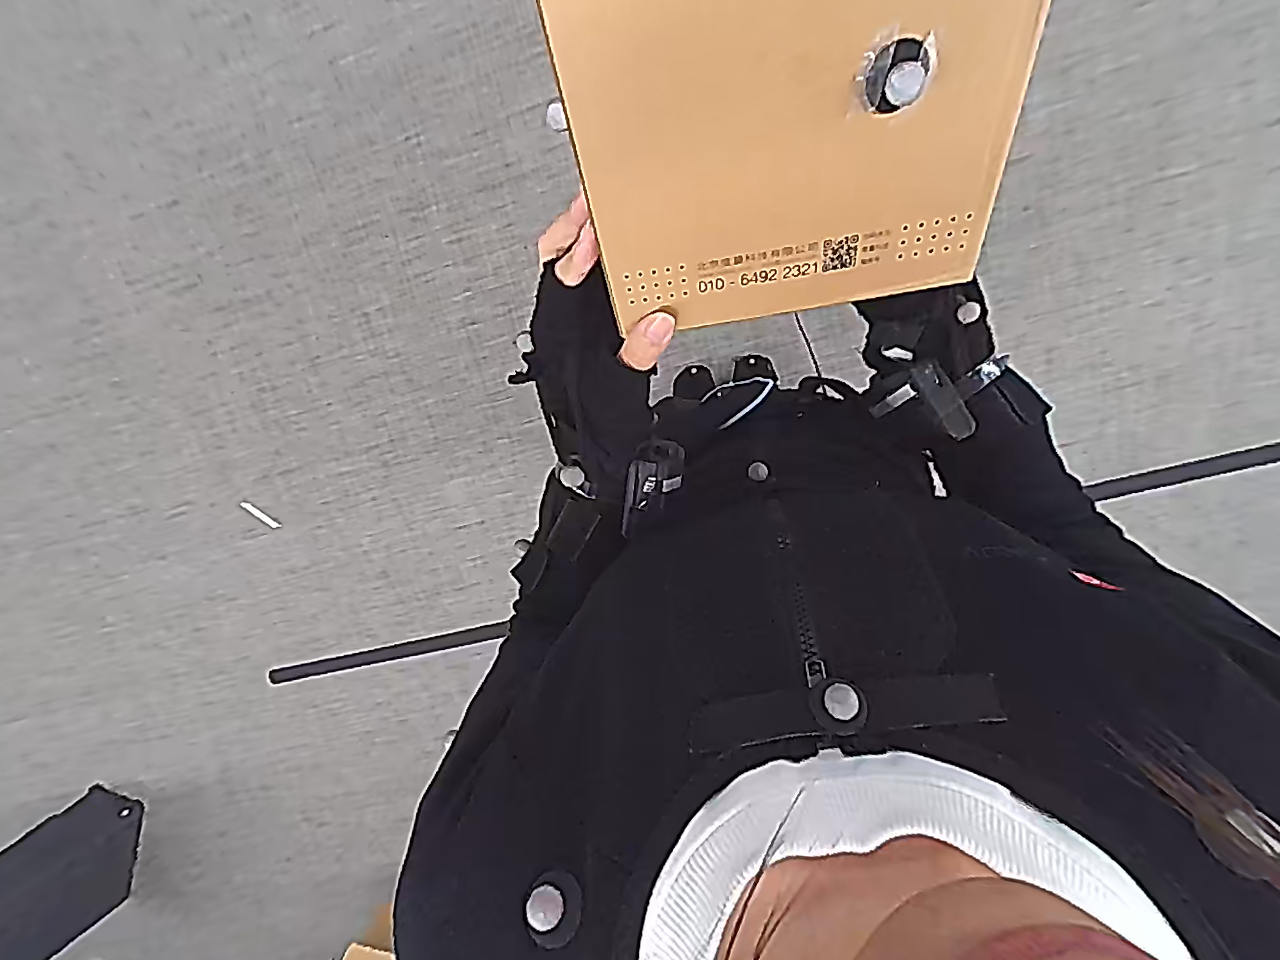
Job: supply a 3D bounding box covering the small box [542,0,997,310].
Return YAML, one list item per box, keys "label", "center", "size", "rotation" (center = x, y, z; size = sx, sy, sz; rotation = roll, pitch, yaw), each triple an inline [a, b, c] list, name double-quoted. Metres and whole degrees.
- label: "small box"
  center: [0.059, -0.202, 0.276]
  size: [0.168, 0.179, 0.176]
  rotation: [-7, 137, 8]
